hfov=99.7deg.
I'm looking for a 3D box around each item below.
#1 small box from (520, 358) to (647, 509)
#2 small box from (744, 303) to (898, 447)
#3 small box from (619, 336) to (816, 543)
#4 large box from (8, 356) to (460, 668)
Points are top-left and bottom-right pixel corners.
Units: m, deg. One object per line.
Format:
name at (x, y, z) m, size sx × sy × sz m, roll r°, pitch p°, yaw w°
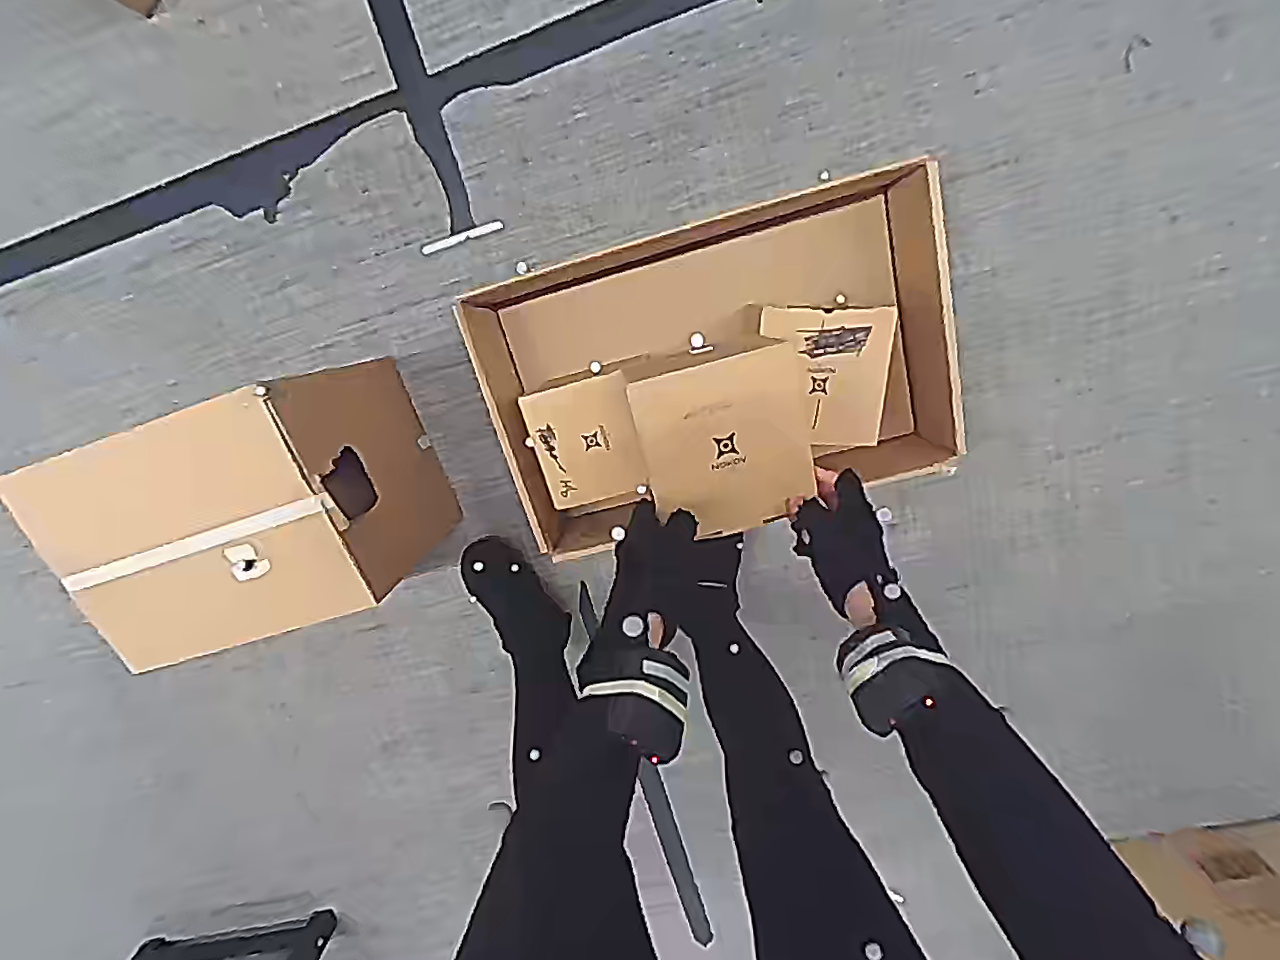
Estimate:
small box at (-0.053, -0.077, 0.795) m, size 0.179 × 0.176 × 0.168 m, roll -14°, pitch 105°, yaw 6°
small box at (0.233, -0.153, 0.756) m, size 0.168 × 0.176 × 0.179 m, roll 2°, pitch 109°, yaw 3°
small box at (0.078, -0.056, 0.606) m, size 0.168 × 0.176 × 0.179 m, roll -15°, pitch 105°, yaw 1°
large box at (-0.568, 0.028, 0.842) m, size 0.408 × 0.320 × 0.320 m, roll -17°, pitch 107°, yaw 8°
